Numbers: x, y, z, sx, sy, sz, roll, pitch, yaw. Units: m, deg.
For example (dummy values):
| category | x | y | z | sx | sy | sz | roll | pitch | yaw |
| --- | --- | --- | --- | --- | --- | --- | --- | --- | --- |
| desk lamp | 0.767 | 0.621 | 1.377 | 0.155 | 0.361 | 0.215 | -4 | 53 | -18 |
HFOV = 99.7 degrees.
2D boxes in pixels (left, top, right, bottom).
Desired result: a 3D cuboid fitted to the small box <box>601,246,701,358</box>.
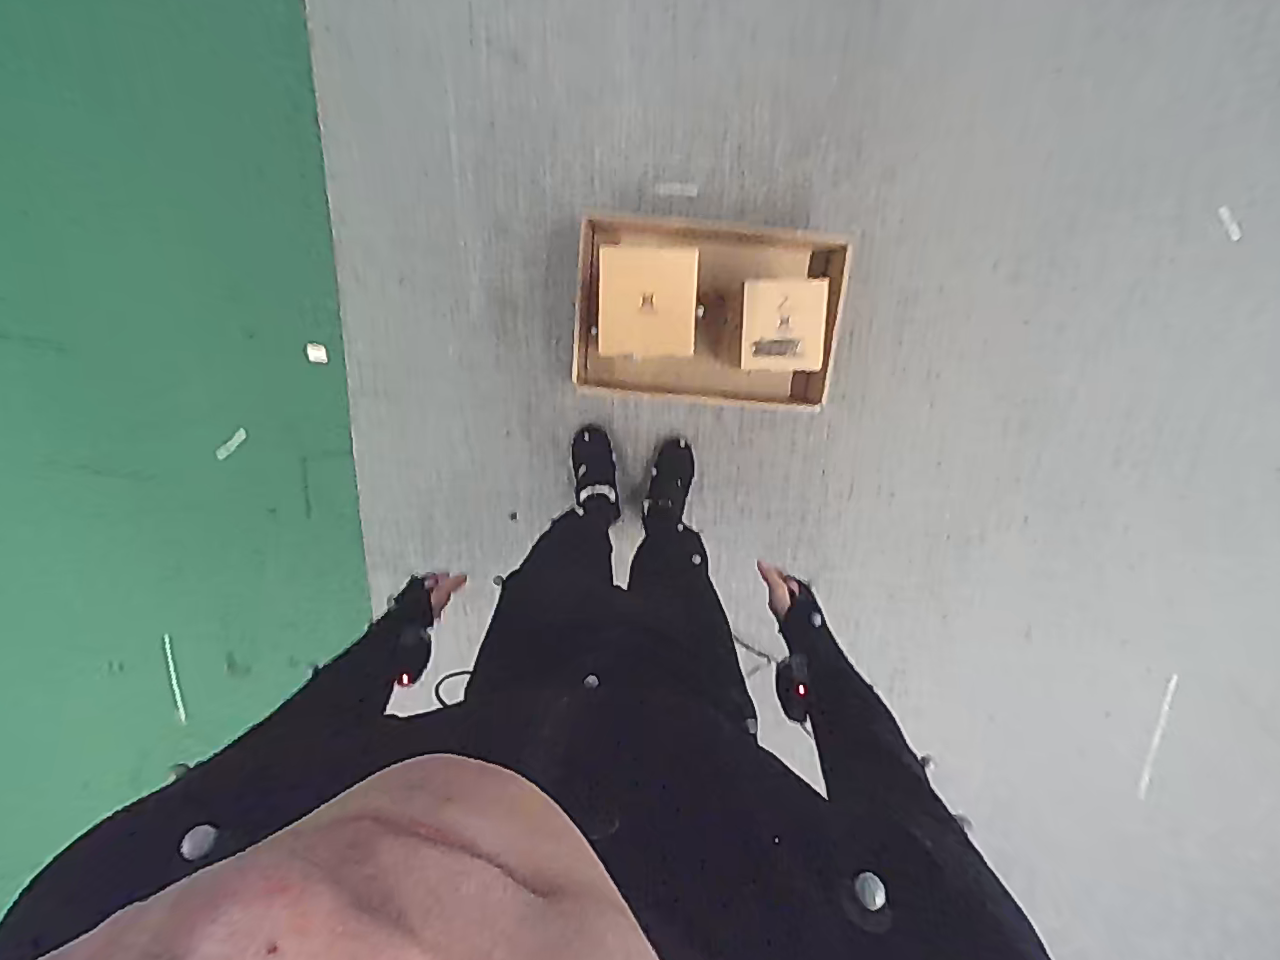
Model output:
| category | x | y | z | sx | sy | sz | roll | pitch | yaw |
| --- | --- | --- | --- | --- | --- | --- | --- | --- | --- |
| small box | 0.016 | -0.315 | 0.982 | 0.168 | 0.176 | 0.179 | 1 | 104 | 0 |
